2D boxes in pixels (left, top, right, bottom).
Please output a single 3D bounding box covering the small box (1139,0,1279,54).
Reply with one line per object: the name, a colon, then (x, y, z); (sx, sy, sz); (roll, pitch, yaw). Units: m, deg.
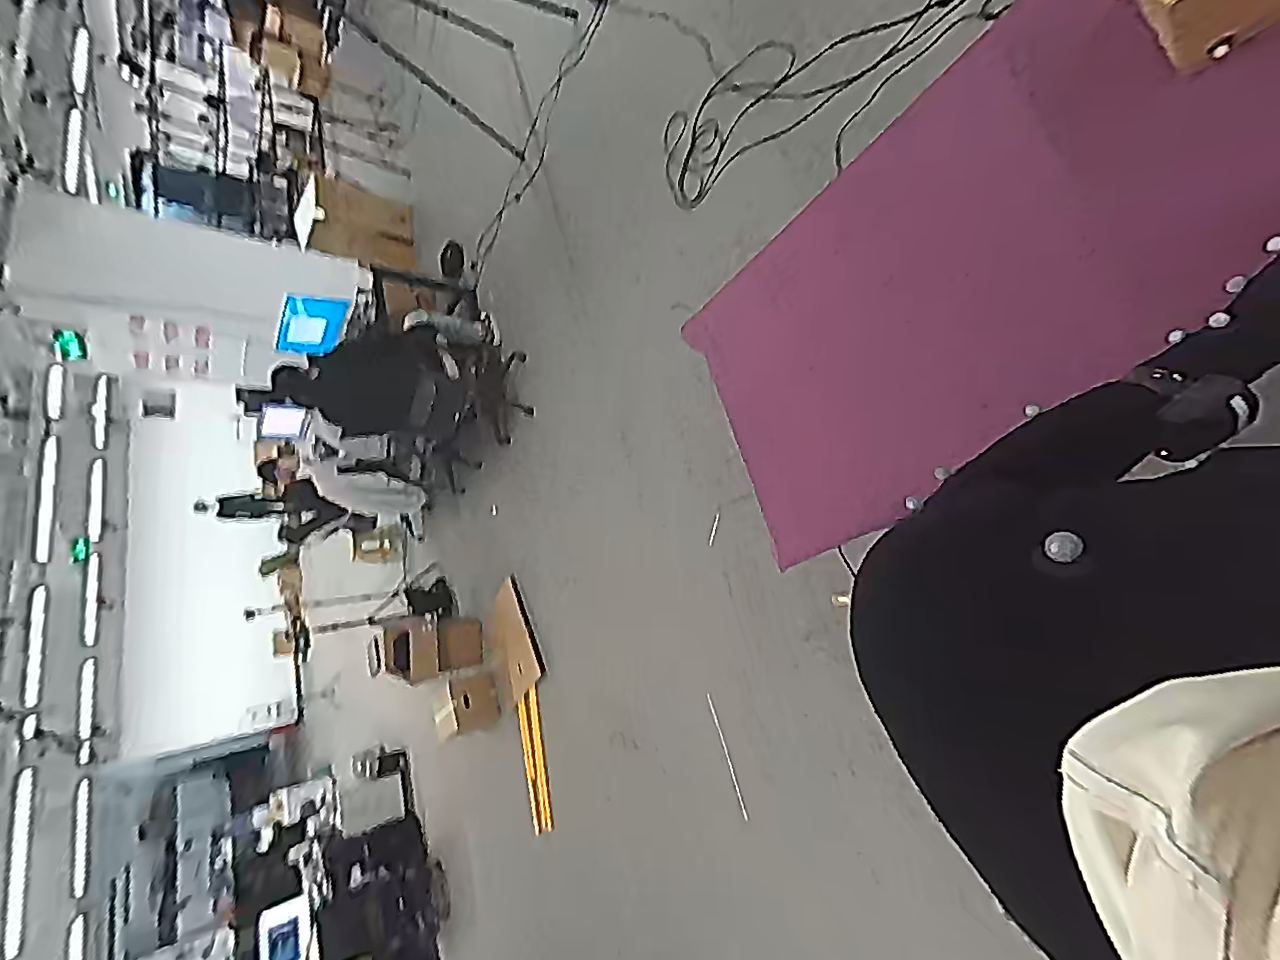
small box: (0.637, -0.609, 0.576); (0.168, 0.176, 0.179); (-28, 69, 47)
